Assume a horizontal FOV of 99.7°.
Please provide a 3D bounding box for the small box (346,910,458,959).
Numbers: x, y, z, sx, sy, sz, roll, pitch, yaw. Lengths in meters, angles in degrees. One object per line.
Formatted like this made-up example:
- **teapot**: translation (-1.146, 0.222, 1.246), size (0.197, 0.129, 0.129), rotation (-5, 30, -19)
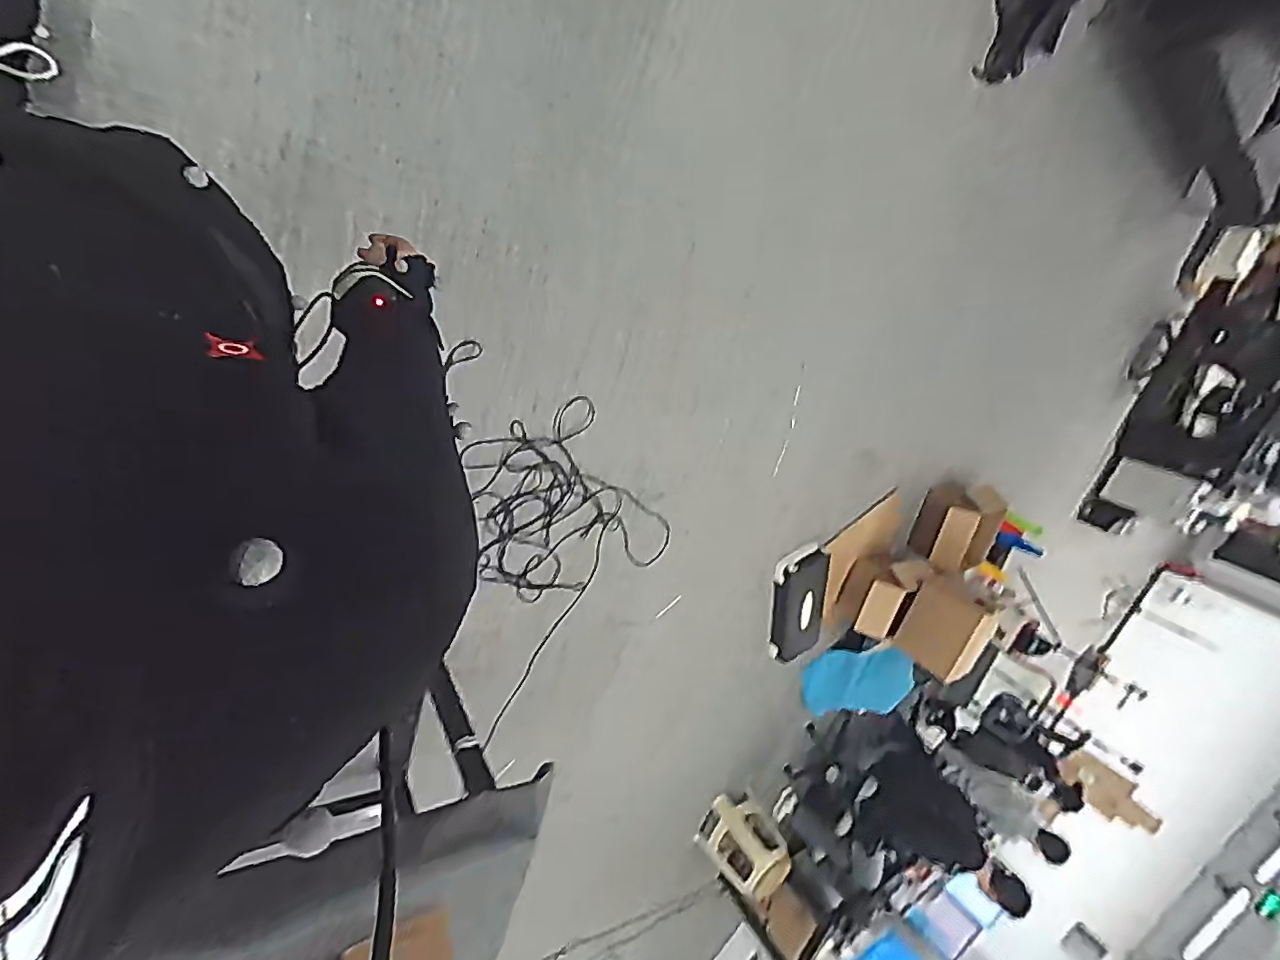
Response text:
- **small box**: translation (-0.418, 0.908, 0.949), size (0.168, 0.176, 0.179), rotation (-1, 117, -35)
